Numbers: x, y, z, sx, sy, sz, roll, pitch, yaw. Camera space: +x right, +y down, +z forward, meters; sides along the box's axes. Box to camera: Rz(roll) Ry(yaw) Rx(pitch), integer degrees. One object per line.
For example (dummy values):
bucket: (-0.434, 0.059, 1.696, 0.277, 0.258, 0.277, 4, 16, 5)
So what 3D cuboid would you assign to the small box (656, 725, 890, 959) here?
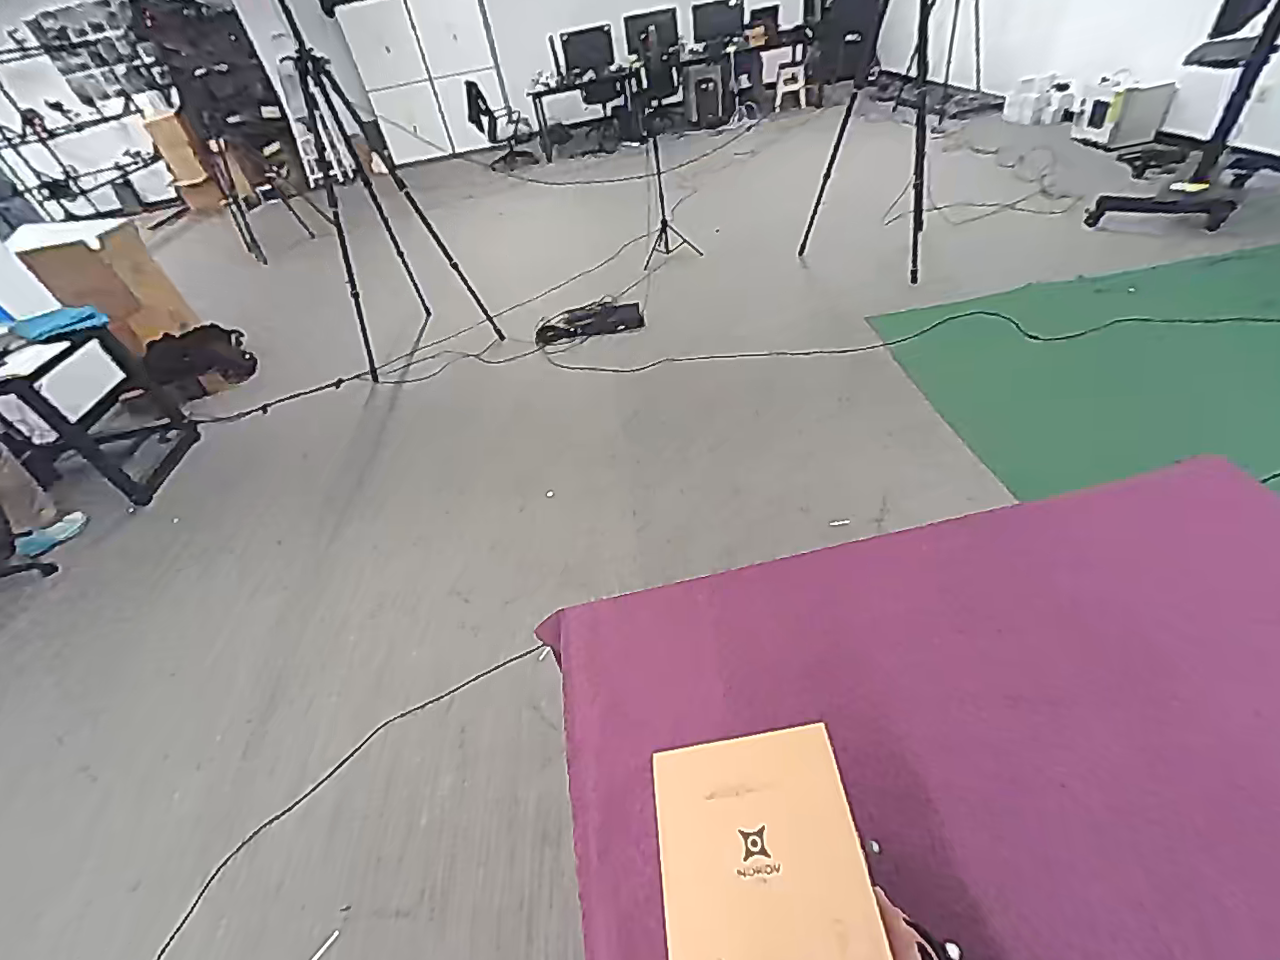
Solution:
small box: (0.121, 0.353, 0.502, 0.168, 0.176, 0.179, -14, 46, 10)
